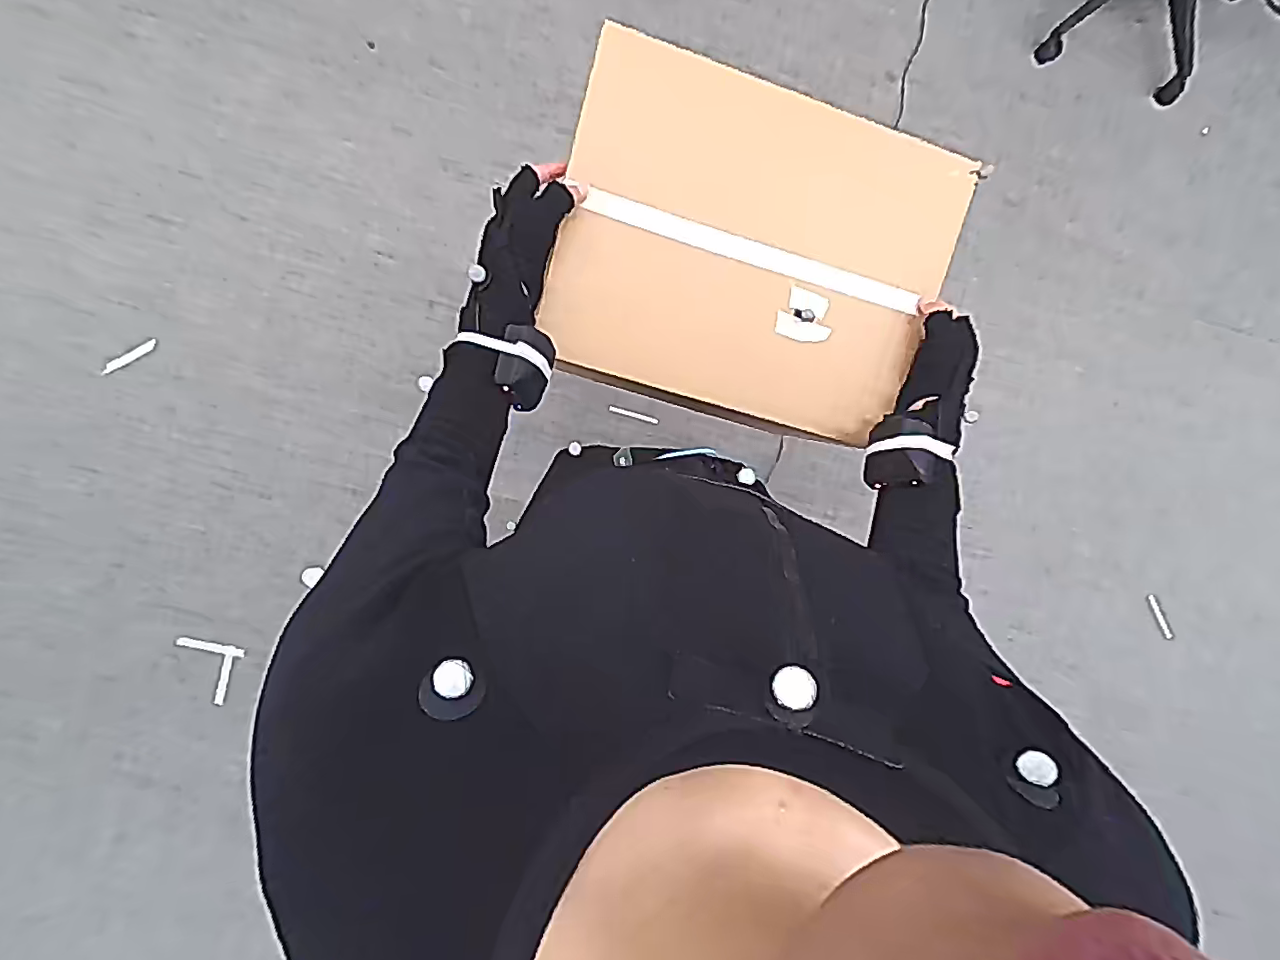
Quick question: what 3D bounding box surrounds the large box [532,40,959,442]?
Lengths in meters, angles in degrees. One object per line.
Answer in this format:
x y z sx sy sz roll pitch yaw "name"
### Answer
0.097 -0.258 0.713 0.408 0.320 0.320 15 98 -9 "large box"
